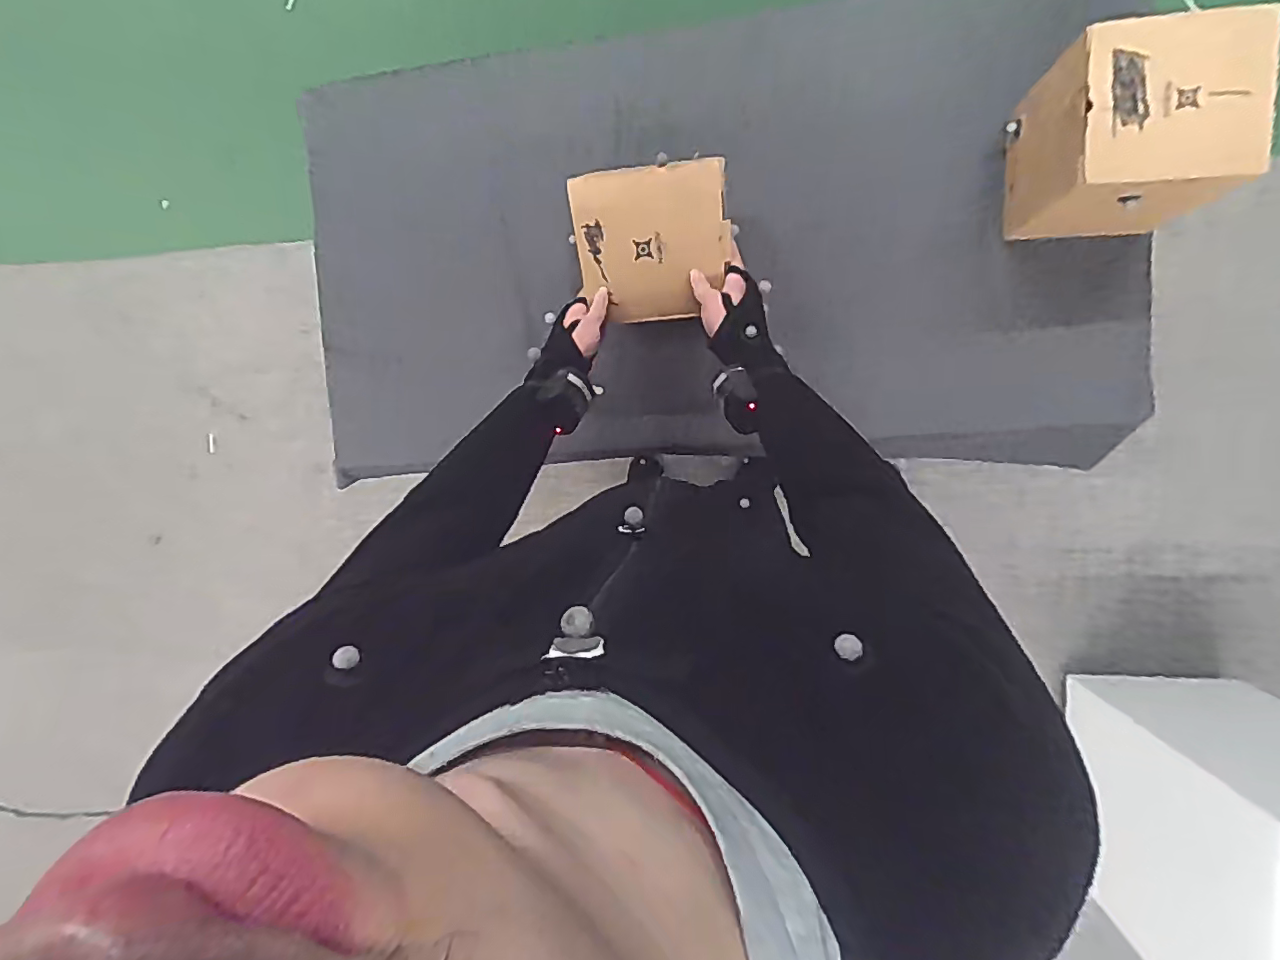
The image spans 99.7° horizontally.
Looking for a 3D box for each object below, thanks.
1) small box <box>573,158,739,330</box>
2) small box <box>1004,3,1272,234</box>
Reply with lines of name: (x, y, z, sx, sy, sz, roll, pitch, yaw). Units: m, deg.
small box: (0.027, -0.300, 0.680, 0.179, 0.176, 0.168, -4, 121, 8)
small box: (0.567, -0.408, 0.643, 0.179, 0.176, 0.168, -1, 94, 5)
